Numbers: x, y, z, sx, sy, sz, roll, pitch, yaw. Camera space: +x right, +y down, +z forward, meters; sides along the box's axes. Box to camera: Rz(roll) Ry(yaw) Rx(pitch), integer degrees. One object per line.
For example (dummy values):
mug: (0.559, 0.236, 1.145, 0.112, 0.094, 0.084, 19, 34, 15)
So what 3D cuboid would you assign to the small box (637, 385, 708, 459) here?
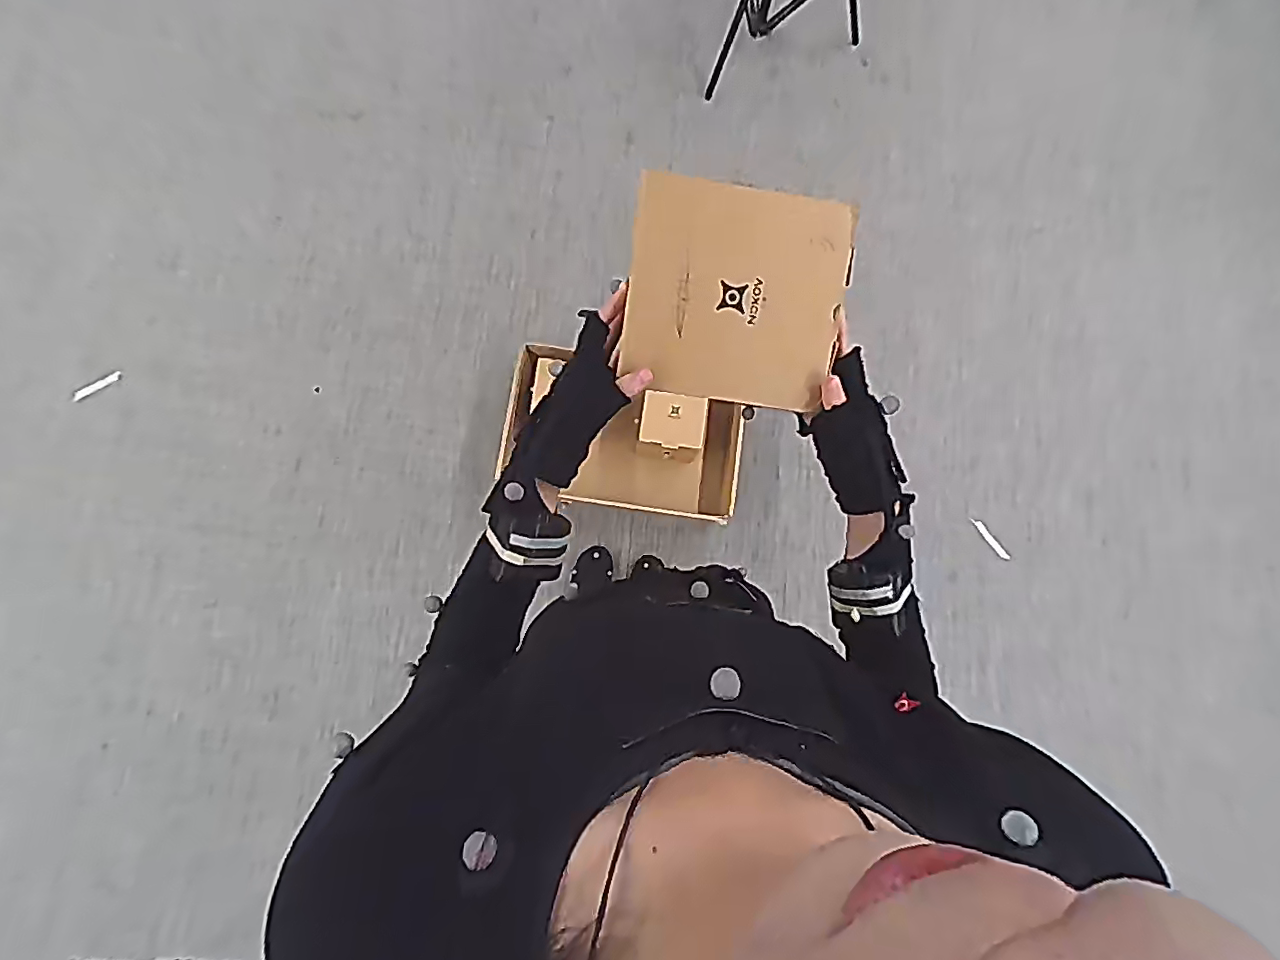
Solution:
small box: (0.087, -0.163, 1.472, 0.168, 0.176, 0.179, 9, 82, 0)

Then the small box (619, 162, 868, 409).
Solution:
small box: (0.077, -0.162, 0.501, 0.179, 0.176, 0.168, 7, 99, -3)
